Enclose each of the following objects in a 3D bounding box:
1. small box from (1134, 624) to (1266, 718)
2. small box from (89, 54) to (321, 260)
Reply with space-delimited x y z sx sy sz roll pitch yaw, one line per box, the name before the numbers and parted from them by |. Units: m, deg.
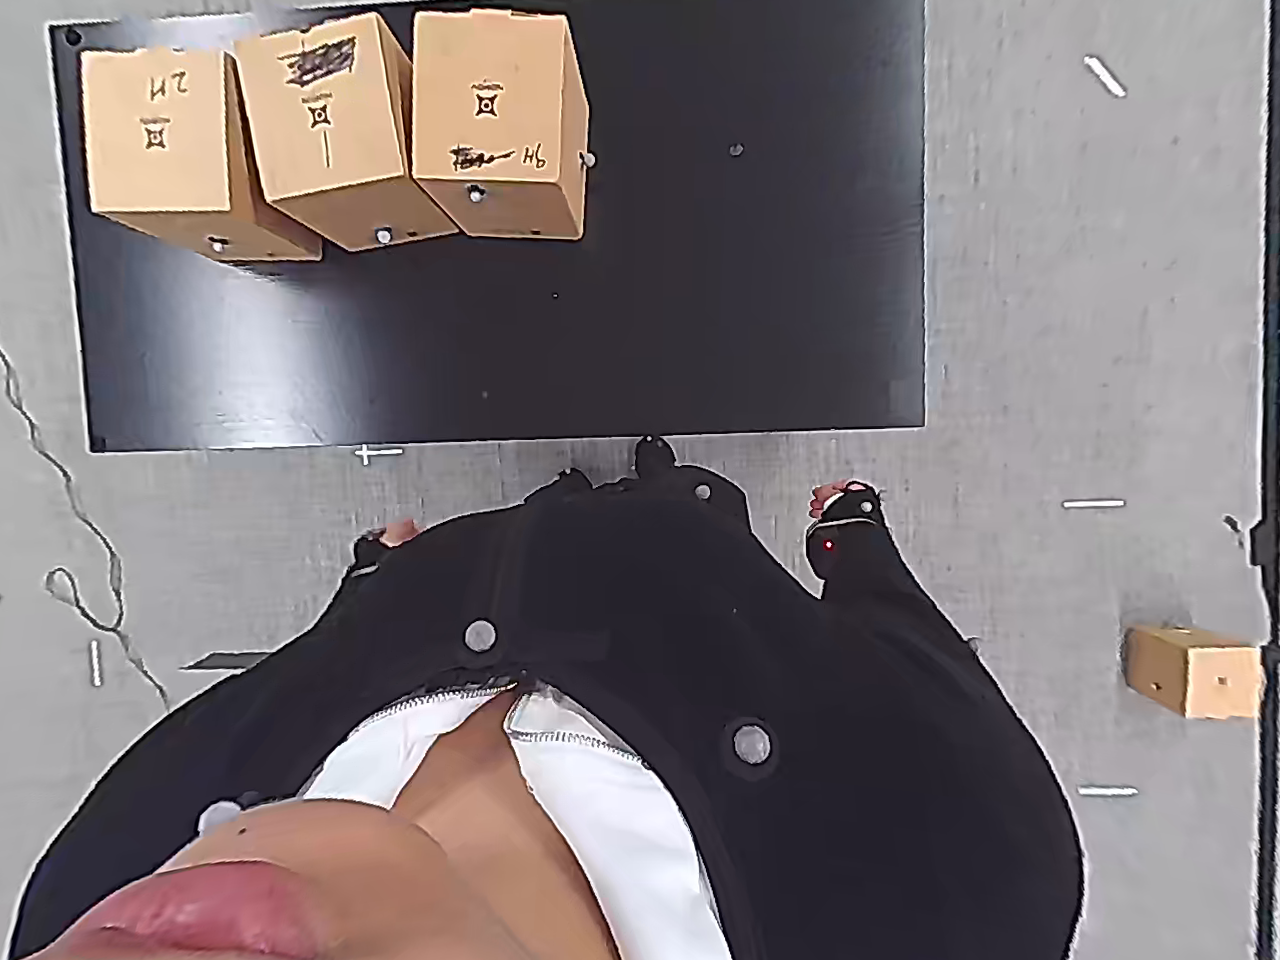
small box | 1.398 0.476 1.362 0.168 0.176 0.179 -3 93 3
small box | -0.534 -0.392 0.688 0.168 0.176 0.179 1 93 2
